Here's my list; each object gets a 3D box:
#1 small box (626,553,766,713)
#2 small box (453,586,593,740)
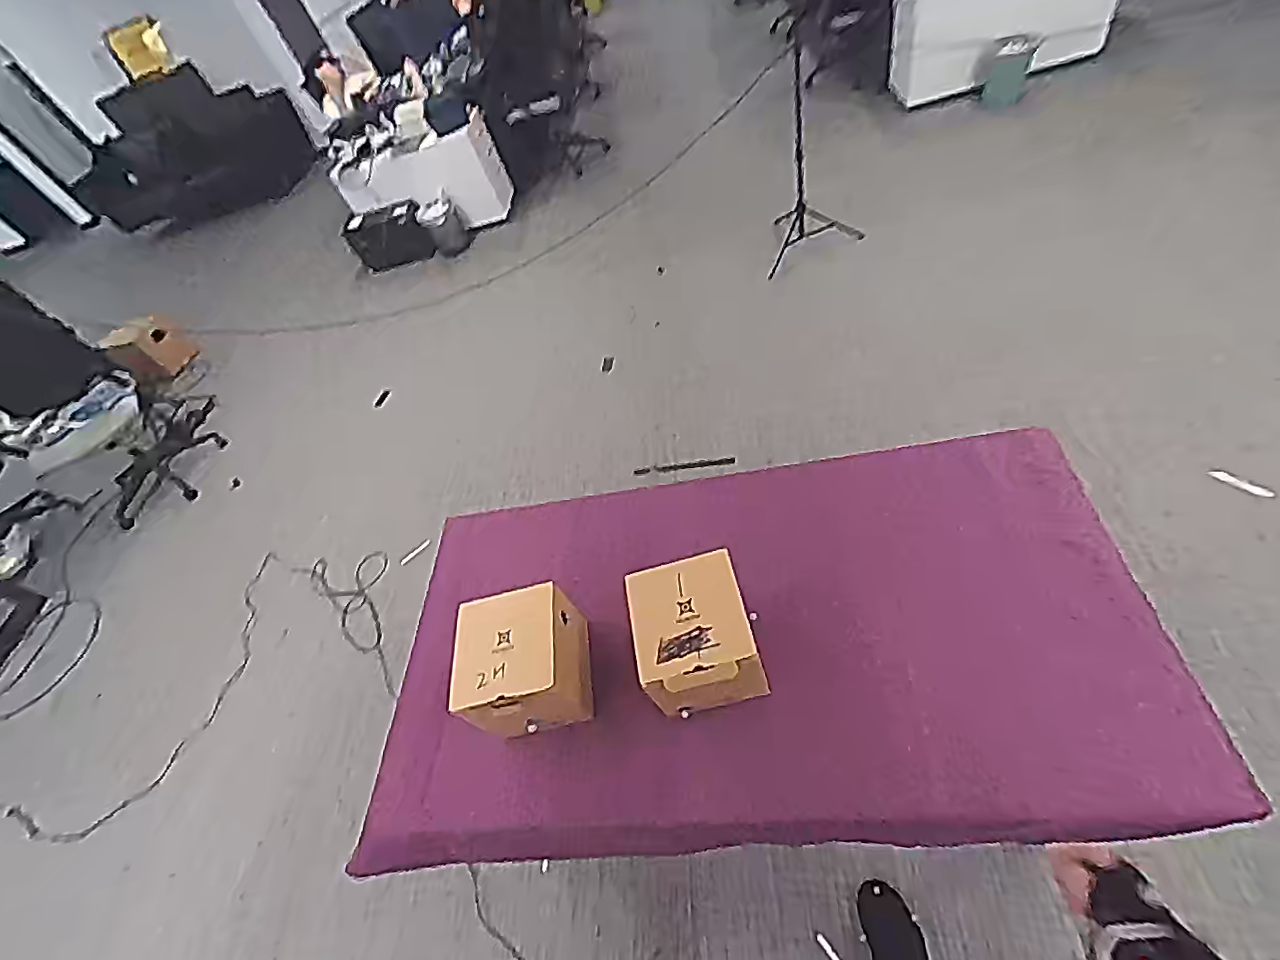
[{"bbox_3d":[0.089,0.245,0.841,0.168,0.176,0.179,-17,49,6],"label":"small box"},{"bbox_3d":[-0.183,0.304,0.890,0.168,0.176,0.179,-15,50,8],"label":"small box"}]
